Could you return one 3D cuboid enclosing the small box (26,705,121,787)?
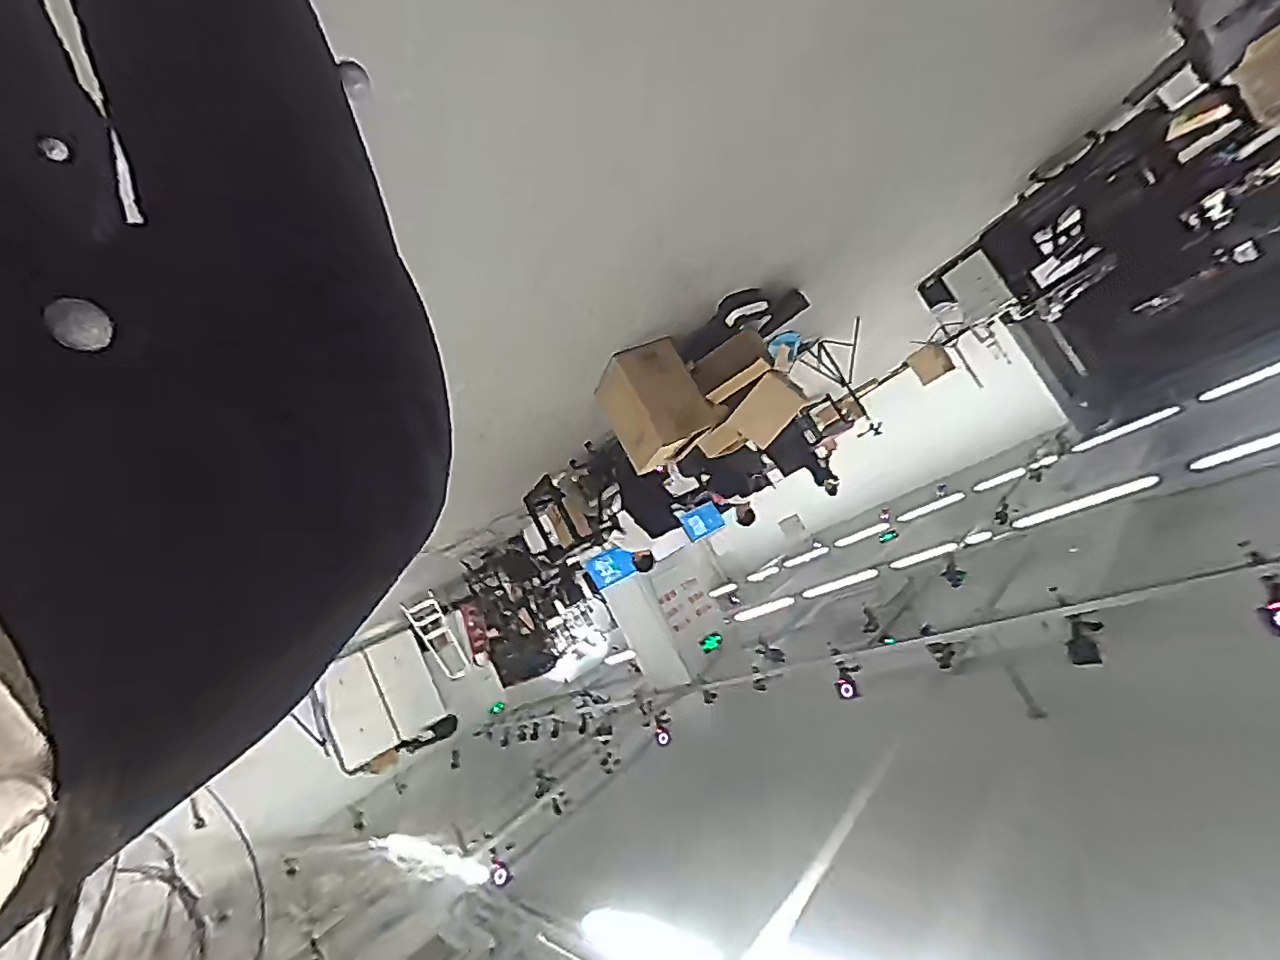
[{"bbox_3d":[-1.797,0.842,1.716,0.179,0.176,0.168,-19,170,-44],"label":"small box"}]
